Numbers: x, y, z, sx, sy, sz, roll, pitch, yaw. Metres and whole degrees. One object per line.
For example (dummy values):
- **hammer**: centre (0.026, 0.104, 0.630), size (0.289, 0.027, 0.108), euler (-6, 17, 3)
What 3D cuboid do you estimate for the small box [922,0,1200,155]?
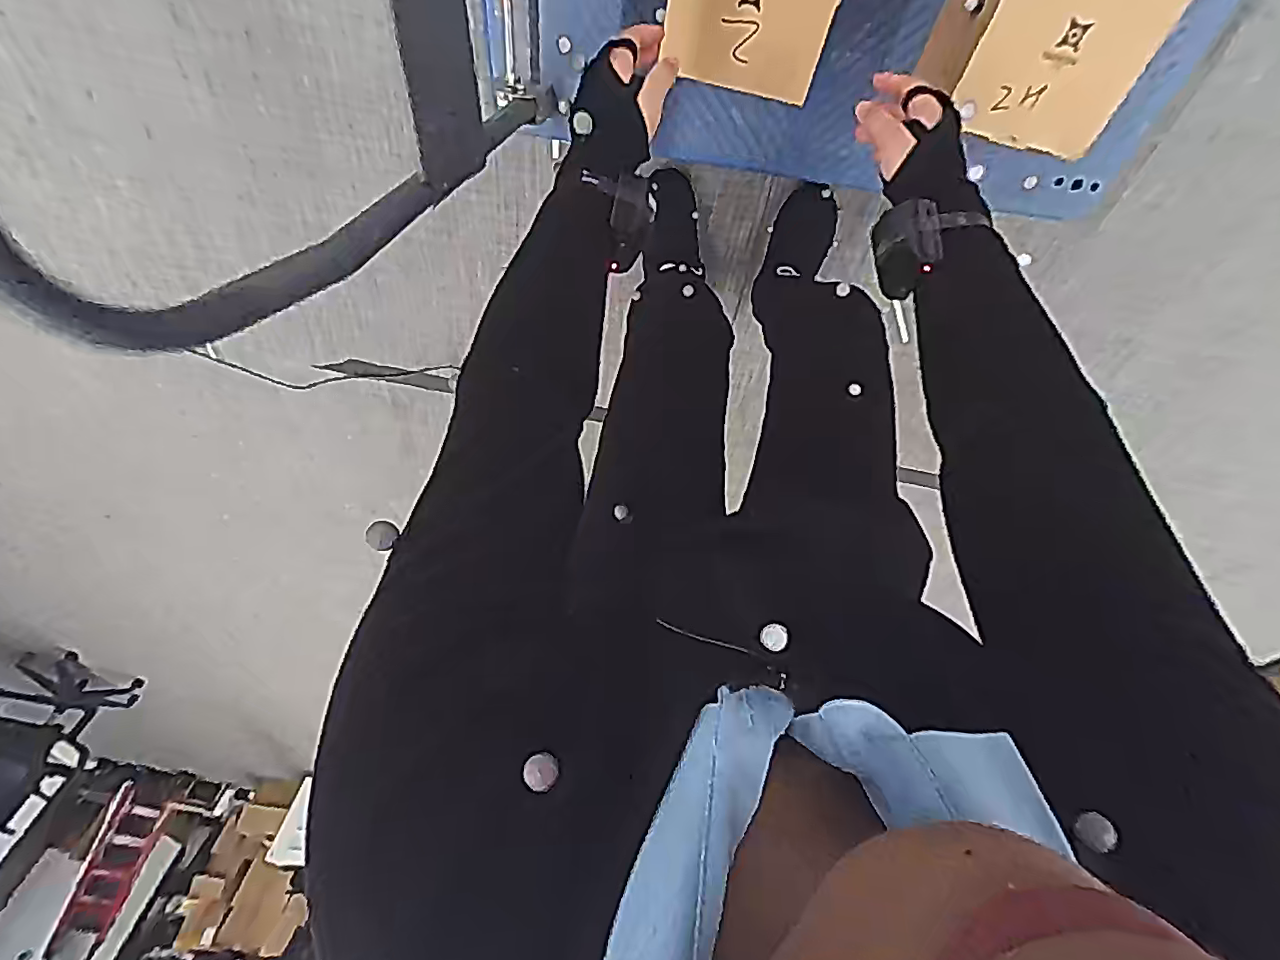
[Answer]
- **small box**: centre (0.433, -0.483, 0.576), size (0.168, 0.176, 0.179), euler (13, 136, -2)
